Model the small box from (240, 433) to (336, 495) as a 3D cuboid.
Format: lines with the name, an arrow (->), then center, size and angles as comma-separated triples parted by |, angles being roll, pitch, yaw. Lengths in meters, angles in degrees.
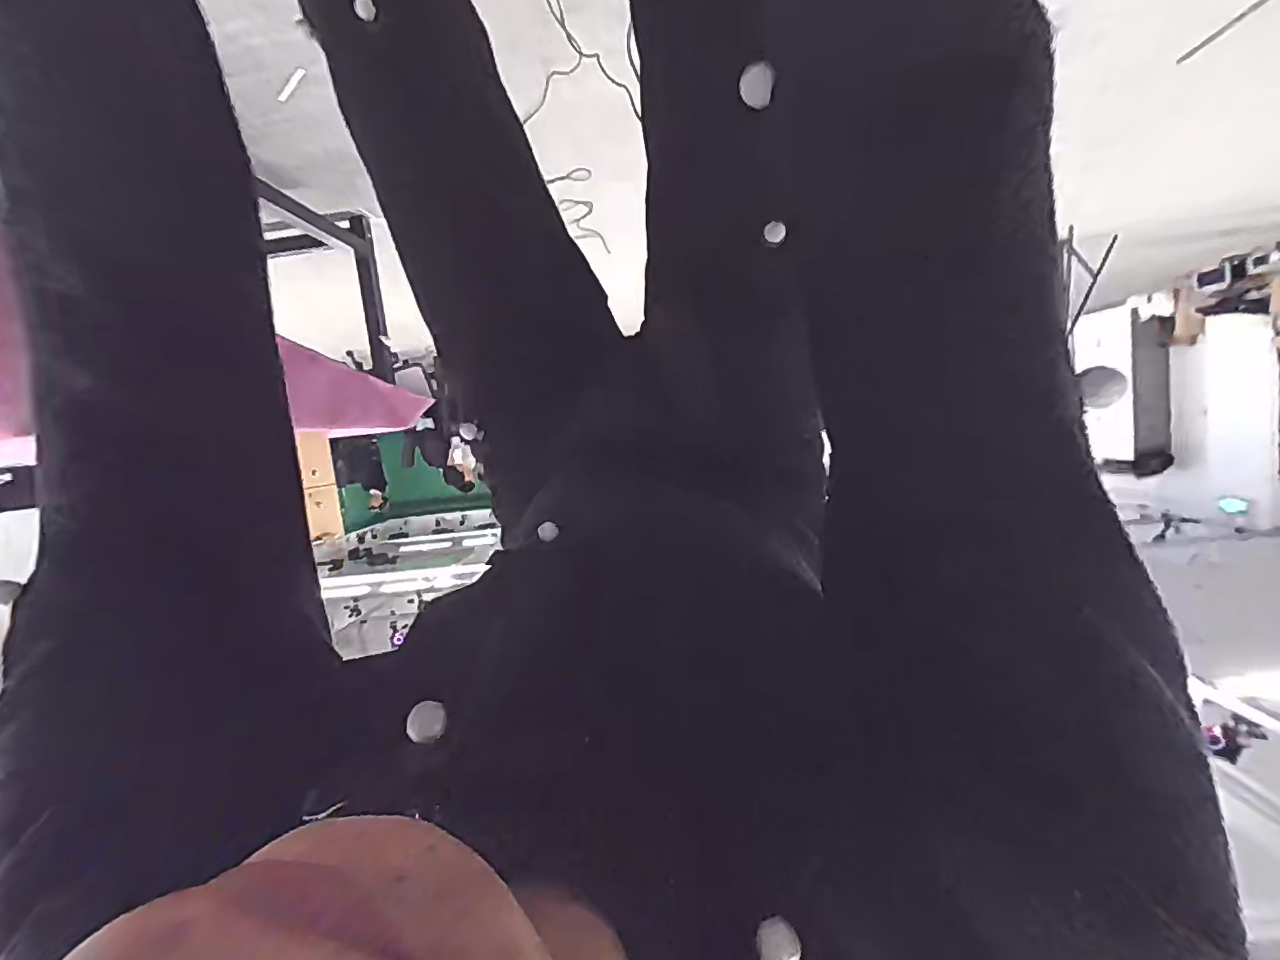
small box -> -1.074, -0.054, 1.653 | 0.168, 0.176, 0.179 | -5, -175, 14

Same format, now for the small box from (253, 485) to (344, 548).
small box -> -1.060, 0.109, 1.678 | 0.179, 0.176, 0.168 | -5, -174, 15
